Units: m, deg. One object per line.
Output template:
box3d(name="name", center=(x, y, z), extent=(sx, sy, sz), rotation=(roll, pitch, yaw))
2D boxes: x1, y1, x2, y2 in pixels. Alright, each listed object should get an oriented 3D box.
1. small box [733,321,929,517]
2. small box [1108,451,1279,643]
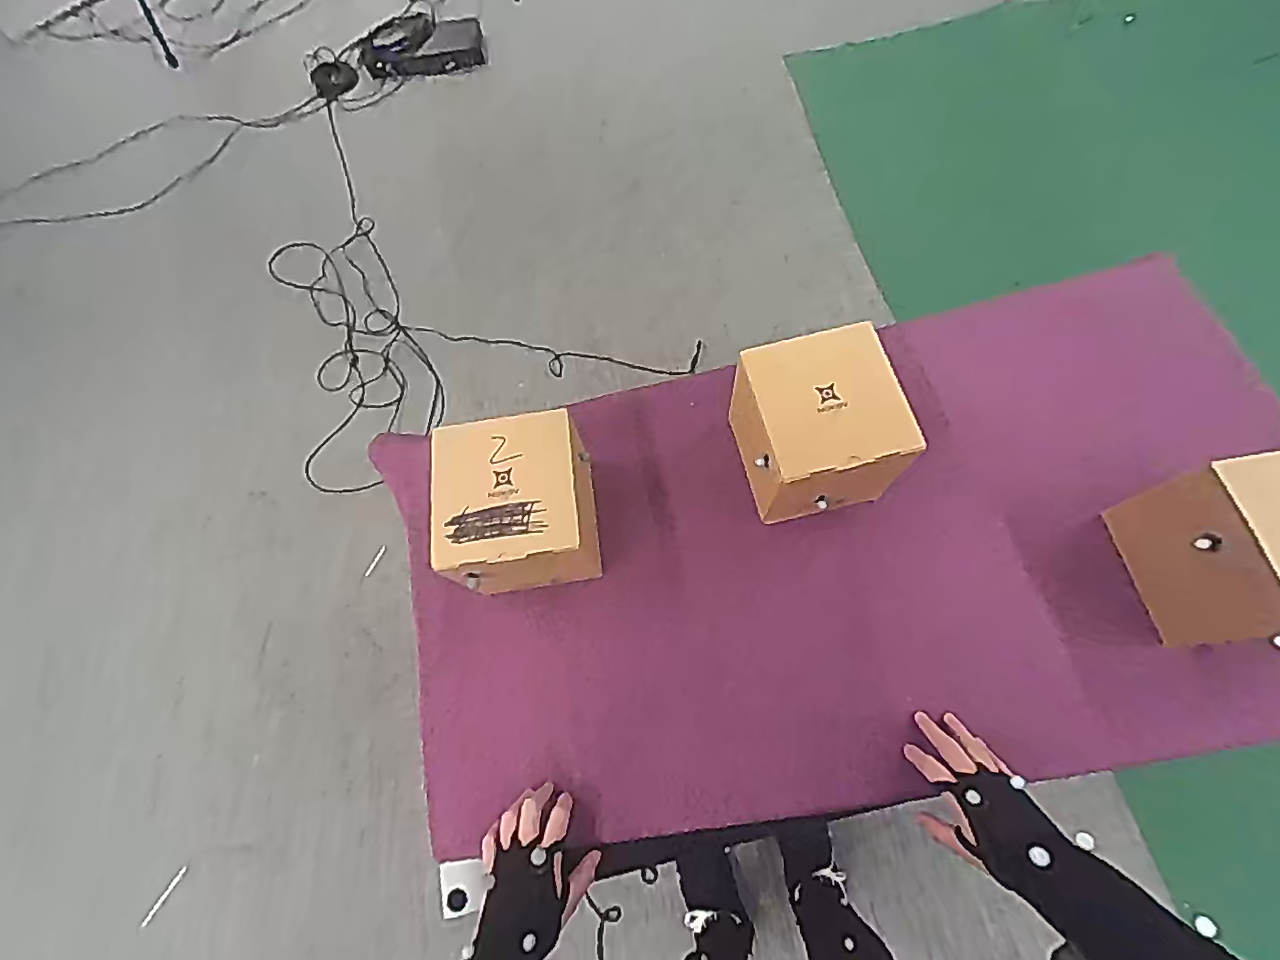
box3d(name="small box", center=(0.225, -0.070, 0.695), extent=(0.168, 0.176, 0.179), rotation=(-13, 71, -1))
box3d(name="small box", center=(0.686, 0.077, 0.601), extent=(0.168, 0.176, 0.179), rotation=(-8, 69, 2))
